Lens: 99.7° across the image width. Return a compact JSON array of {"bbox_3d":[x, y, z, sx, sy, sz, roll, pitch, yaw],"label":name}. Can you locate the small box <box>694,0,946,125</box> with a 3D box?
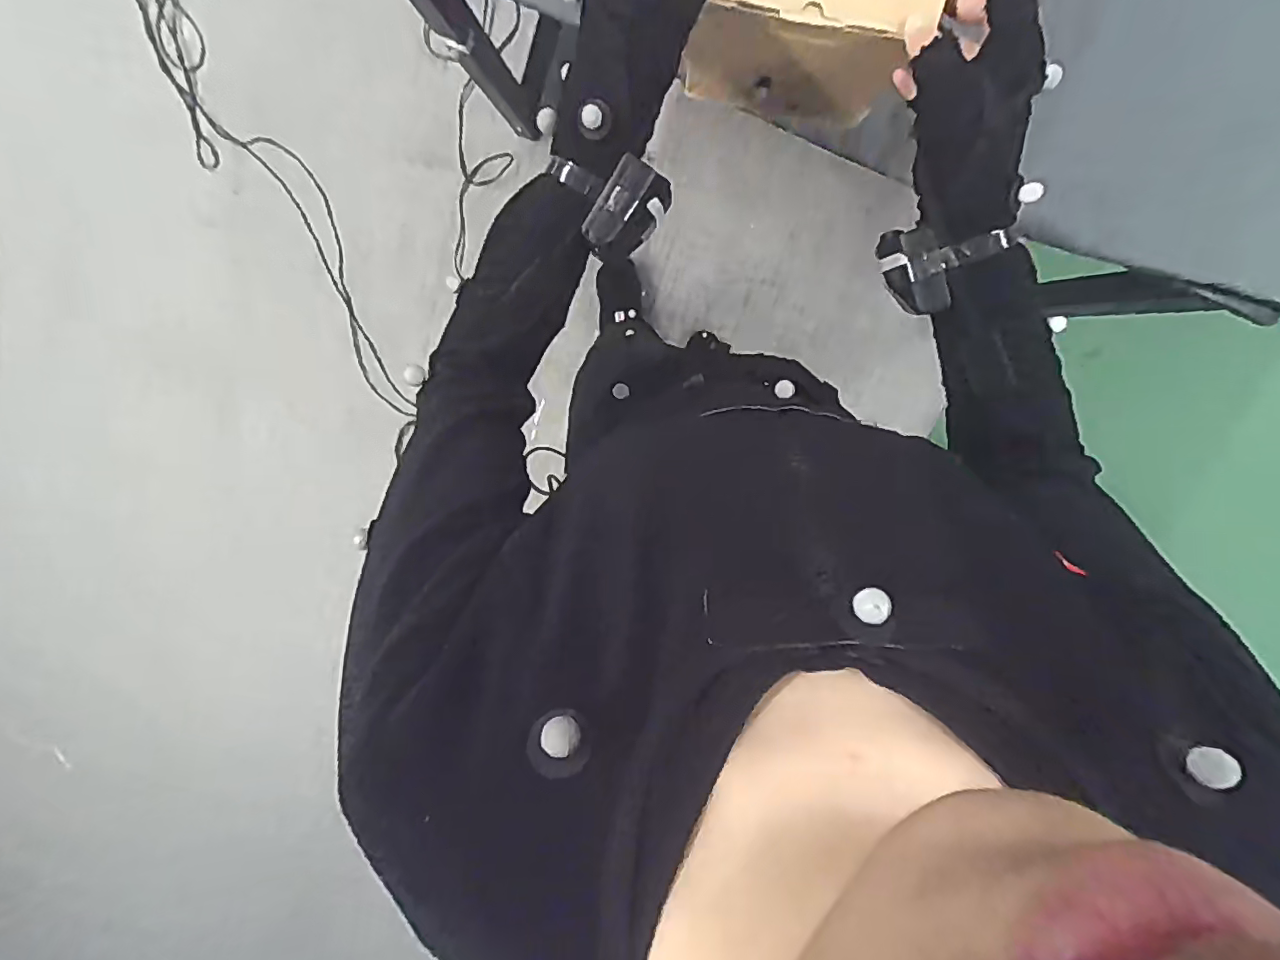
[{"bbox_3d":[0.137,-0.410,0.415,0.168,0.176,0.179,11,108,1],"label":"small box"}]
